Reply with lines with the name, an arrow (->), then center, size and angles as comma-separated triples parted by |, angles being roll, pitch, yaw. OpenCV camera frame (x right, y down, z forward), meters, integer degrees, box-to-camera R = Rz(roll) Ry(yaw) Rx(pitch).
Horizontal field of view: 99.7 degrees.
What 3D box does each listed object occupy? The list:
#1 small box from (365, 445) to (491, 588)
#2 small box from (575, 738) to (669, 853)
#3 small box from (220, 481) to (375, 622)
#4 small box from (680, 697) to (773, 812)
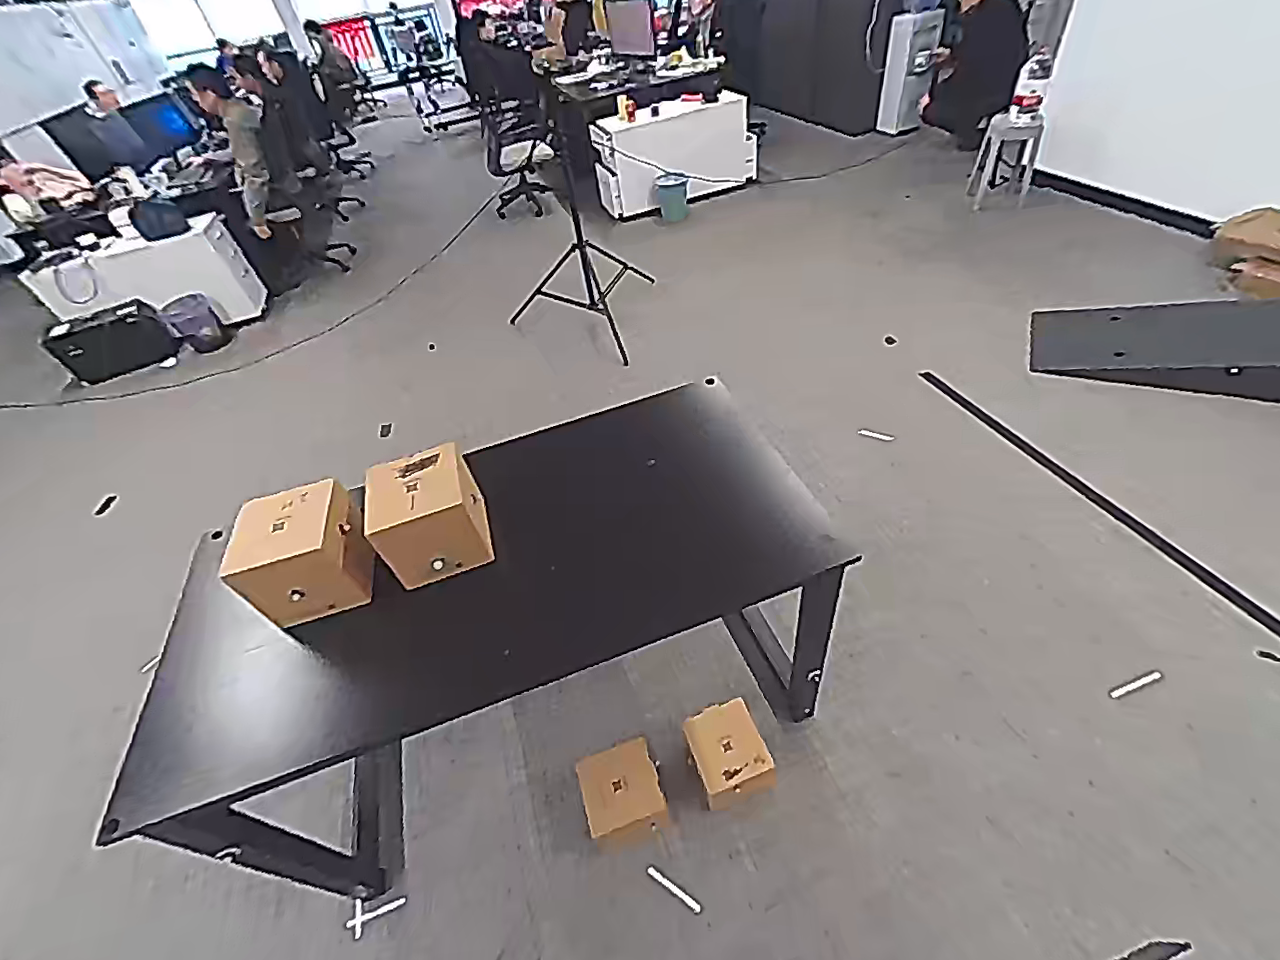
small box -> -0.390, 0.068, 1.007 | 0.168, 0.176, 0.179 | -19, 47, -9
small box -> -0.038, 0.757, 1.295 | 0.179, 0.176, 0.168 | -20, 45, -7
small box -> -0.603, 0.136, 0.981 | 0.168, 0.176, 0.179 | -16, 45, -6
small box -> 0.210, 0.674, 1.325 | 0.168, 0.176, 0.179 | -20, 45, -8
